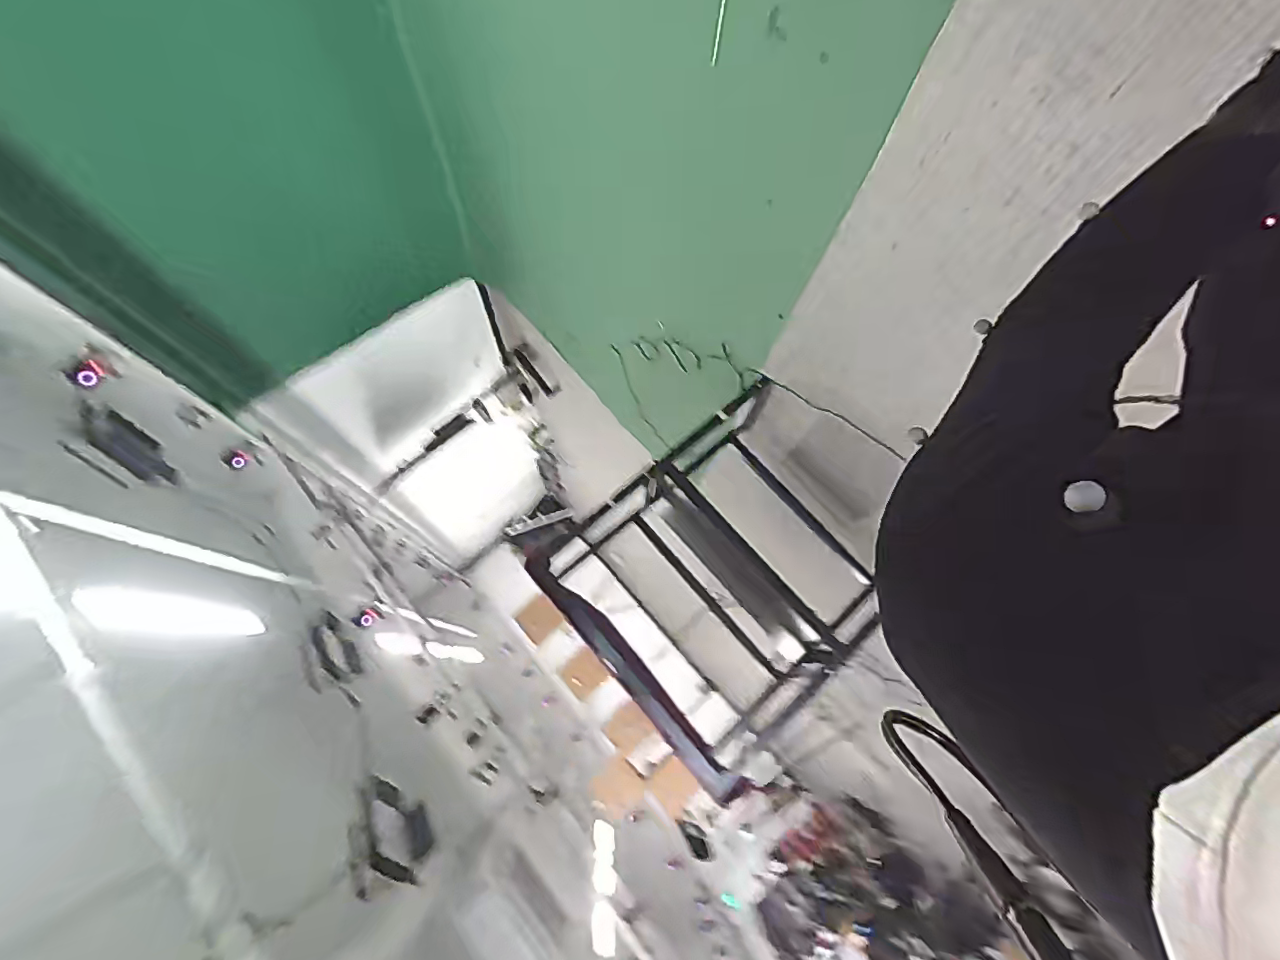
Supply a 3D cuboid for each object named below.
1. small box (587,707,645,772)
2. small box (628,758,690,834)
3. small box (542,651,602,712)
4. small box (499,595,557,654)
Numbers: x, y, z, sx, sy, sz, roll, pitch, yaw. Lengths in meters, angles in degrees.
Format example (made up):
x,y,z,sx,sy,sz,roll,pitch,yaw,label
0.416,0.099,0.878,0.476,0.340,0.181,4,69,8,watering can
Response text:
x,y,z,sx,sy,sz,roll,pitch,yaw,label
-0.096,1.030,2.163,0.168,0.176,0.179,49,163,13,small box
0.072,1.222,2.106,0.179,0.176,0.168,49,163,14,small box
-0.278,0.823,2.224,0.179,0.176,0.168,47,164,12,small box
-0.465,0.612,2.279,0.179,0.176,0.168,49,162,9,small box
